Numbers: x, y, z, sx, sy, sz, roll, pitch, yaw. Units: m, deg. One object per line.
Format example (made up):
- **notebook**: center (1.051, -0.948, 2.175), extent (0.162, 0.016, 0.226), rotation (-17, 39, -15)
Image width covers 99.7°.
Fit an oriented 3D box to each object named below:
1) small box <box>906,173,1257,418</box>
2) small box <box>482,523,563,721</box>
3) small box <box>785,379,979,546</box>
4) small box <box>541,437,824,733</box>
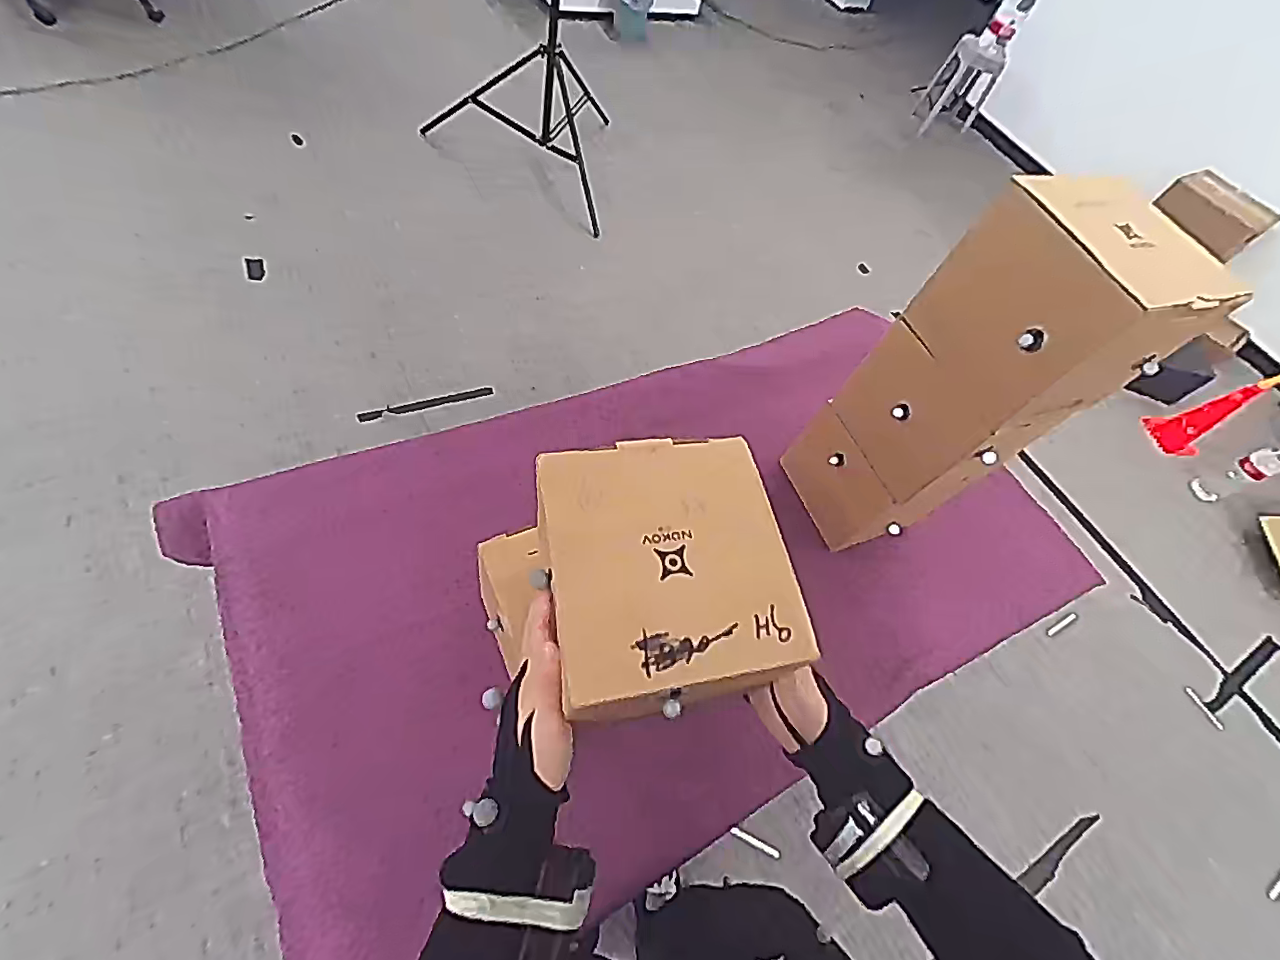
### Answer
- **small box**: center (0.419, -0.178, 0.546), extent (0.168, 0.176, 0.179), rotation (-12, 63, -21)
- **small box**: center (-0.076, 0.153, 0.620), extent (0.168, 0.176, 0.179), rotation (-18, 67, -22)
- **small box**: center (0.353, -0.024, 0.827), extent (0.168, 0.176, 0.179), rotation (-15, 65, -20)
- **small box**: center (0.011, 0.087, 0.432), extent (0.168, 0.176, 0.179), rotation (-6, 62, -12)
